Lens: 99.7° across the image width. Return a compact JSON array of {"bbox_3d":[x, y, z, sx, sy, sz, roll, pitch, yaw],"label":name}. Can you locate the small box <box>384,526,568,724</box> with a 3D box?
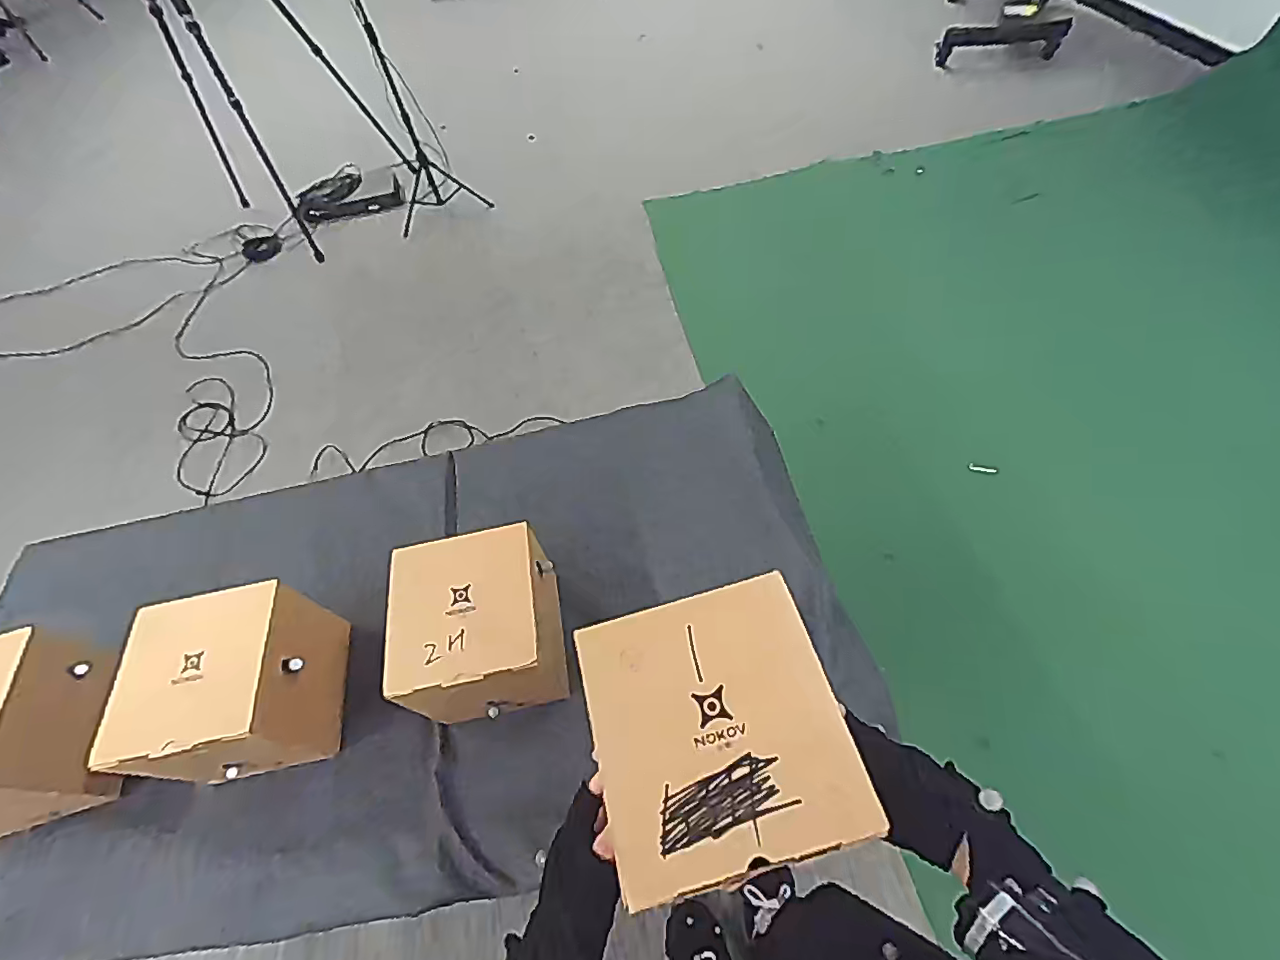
[{"bbox_3d":[-0.191,0.183,0.669,0.168,0.176,0.179,-11,57,-2],"label":"small box"}]

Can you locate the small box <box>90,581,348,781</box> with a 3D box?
[{"bbox_3d":[-0.481,0.248,0.656,0.168,0.176,0.179,-11,57,-3],"label":"small box"}]

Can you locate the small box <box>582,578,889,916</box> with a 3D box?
[{"bbox_3d":[0.063,0.205,0.432,0.168,0.176,0.179,-15,58,-2],"label":"small box"}]
